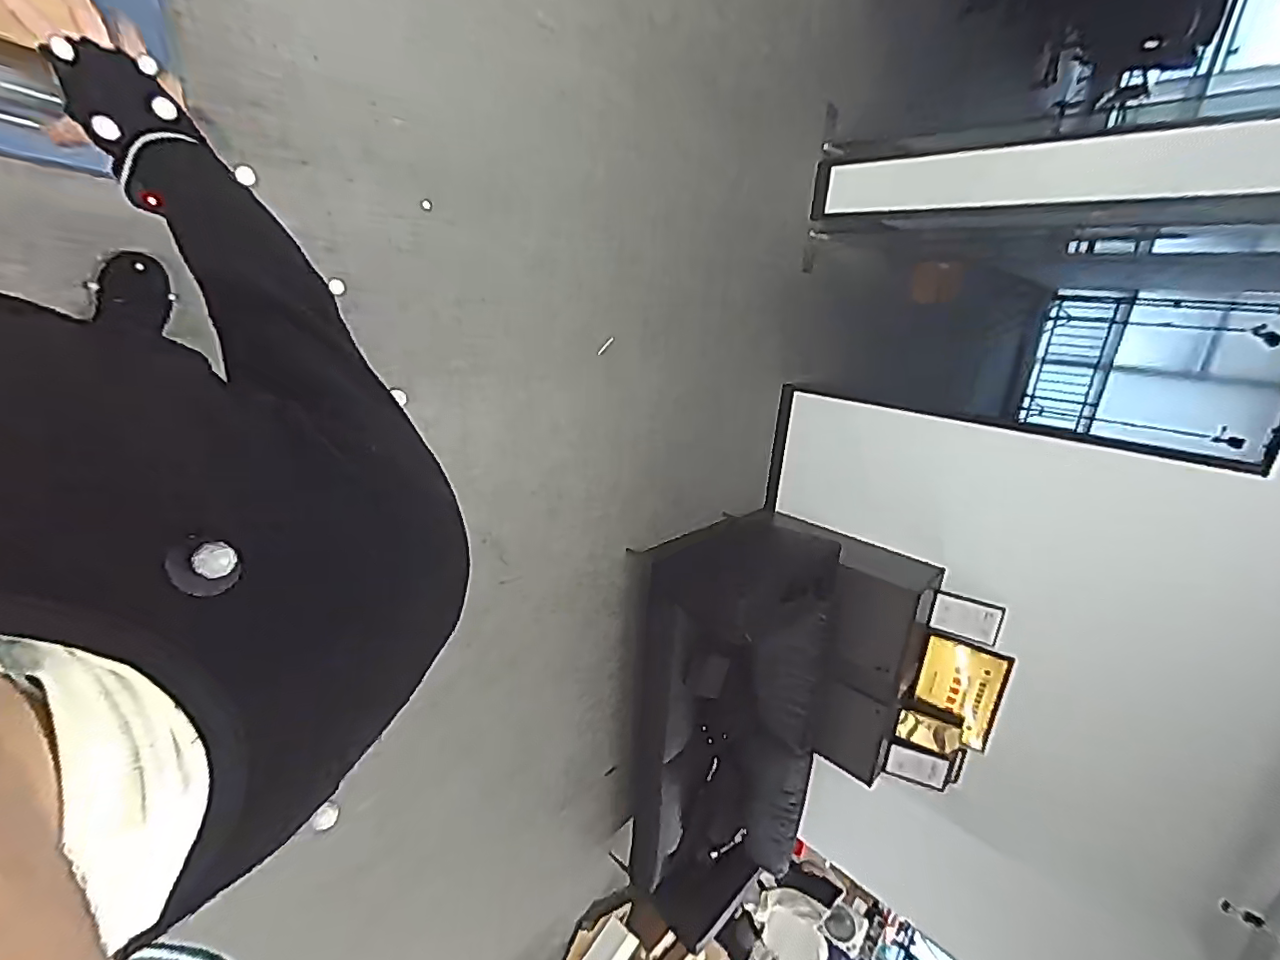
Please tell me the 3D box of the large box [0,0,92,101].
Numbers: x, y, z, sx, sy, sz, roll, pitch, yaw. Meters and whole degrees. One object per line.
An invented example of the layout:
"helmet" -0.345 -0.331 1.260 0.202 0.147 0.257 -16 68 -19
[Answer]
"large box" -0.951 -0.791 0.690 0.320 0.320 0.408 -8 111 -47
